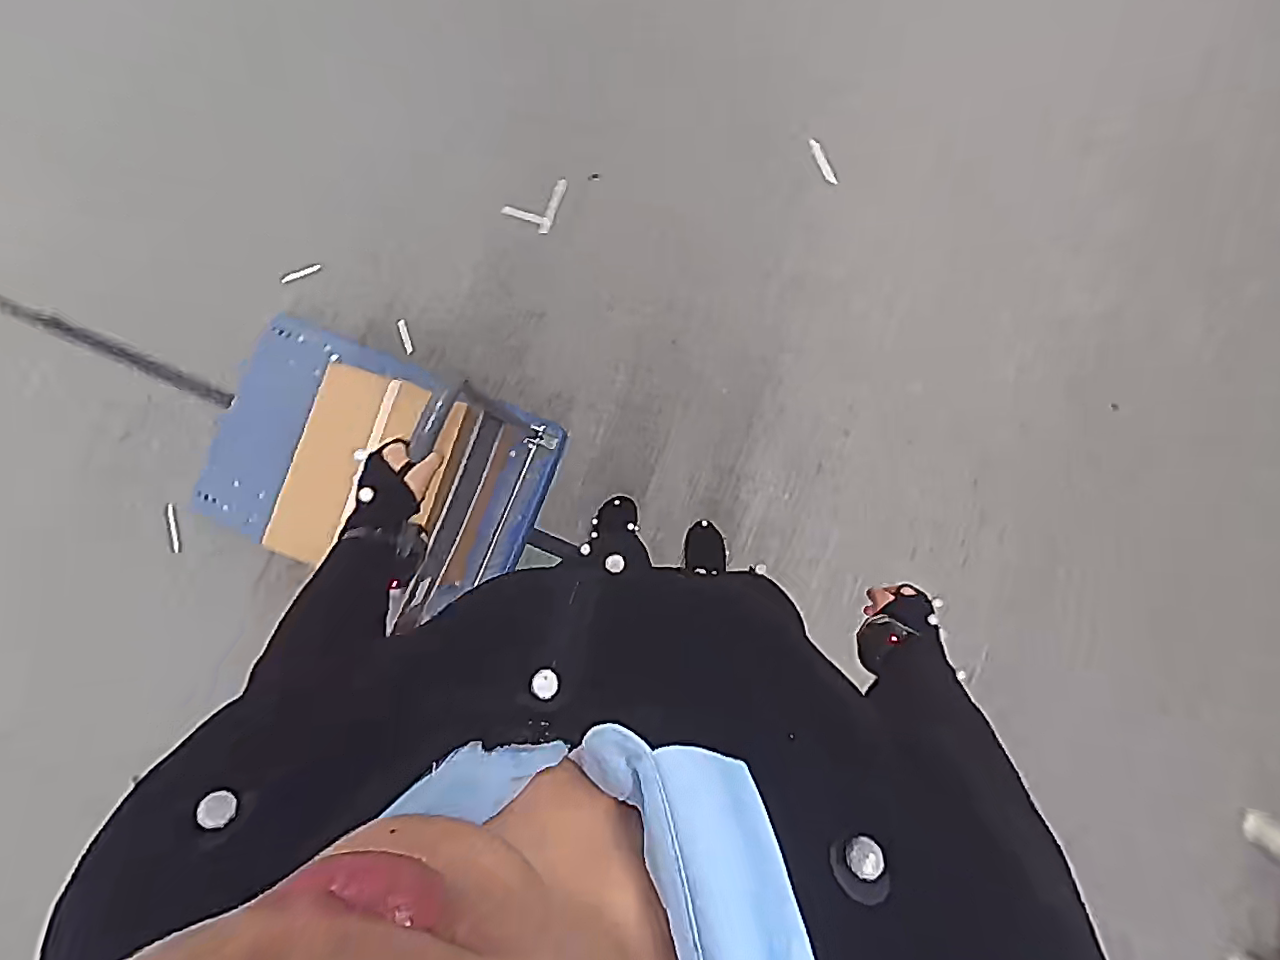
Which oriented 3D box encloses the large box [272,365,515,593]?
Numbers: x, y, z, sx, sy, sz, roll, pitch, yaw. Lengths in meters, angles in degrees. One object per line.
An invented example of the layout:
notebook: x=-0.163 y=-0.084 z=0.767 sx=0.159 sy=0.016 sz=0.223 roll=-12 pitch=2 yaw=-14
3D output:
large box: x=-0.531 y=0.010 z=1.238 sx=0.320 sy=0.320 sz=0.408 roll=18 pitch=85 yaw=5
